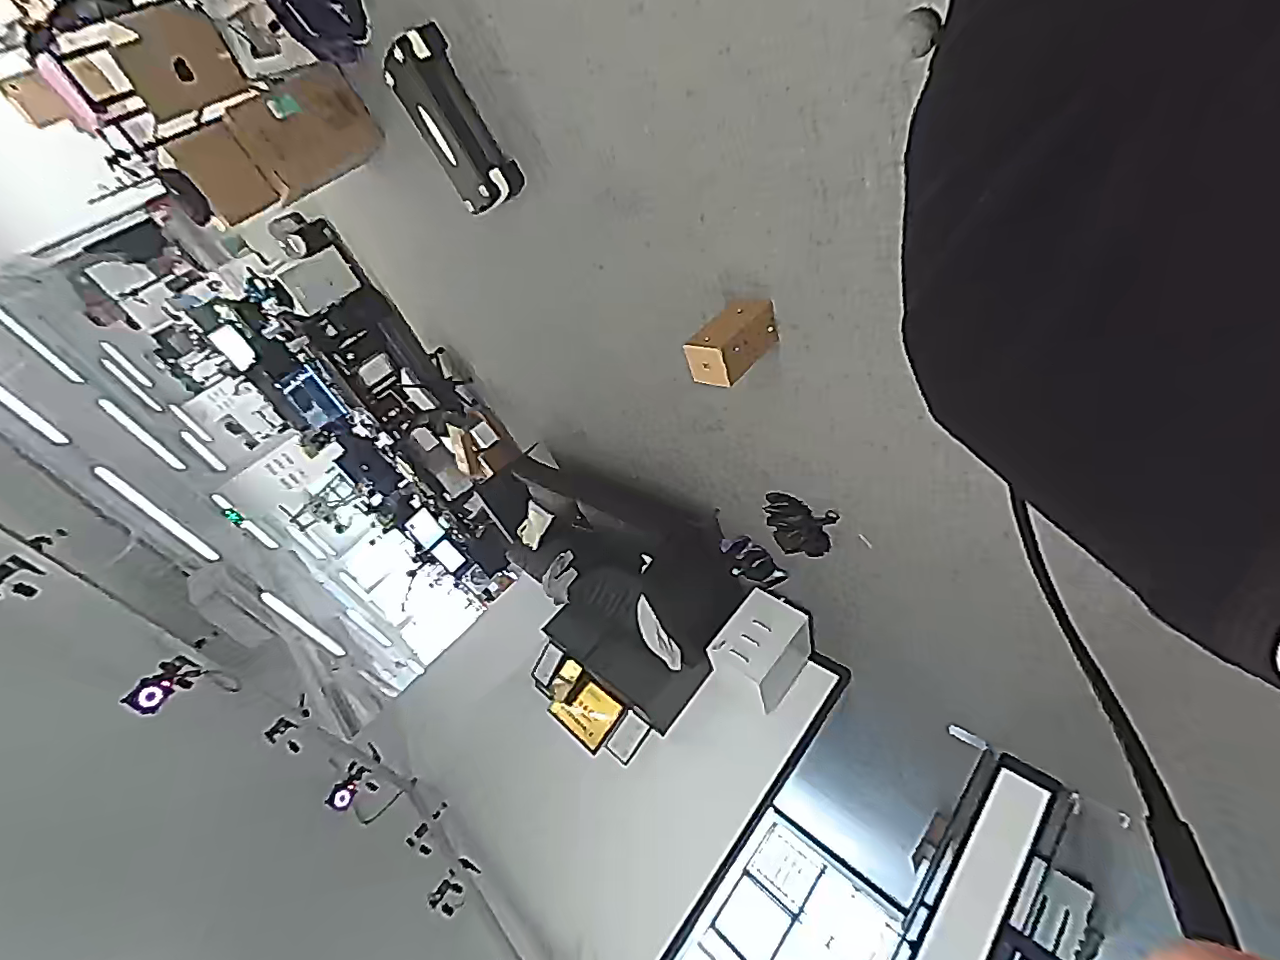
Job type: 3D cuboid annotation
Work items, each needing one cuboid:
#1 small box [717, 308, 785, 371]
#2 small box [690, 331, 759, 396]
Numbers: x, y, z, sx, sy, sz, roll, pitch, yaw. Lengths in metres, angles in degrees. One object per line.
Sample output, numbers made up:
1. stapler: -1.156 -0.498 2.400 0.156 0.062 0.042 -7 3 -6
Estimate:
1. small box: 0.427 -0.542 2.071 0.179 0.176 0.168 20 147 44
2. small box: 0.322 -0.437 2.007 0.179 0.176 0.168 21 146 46
